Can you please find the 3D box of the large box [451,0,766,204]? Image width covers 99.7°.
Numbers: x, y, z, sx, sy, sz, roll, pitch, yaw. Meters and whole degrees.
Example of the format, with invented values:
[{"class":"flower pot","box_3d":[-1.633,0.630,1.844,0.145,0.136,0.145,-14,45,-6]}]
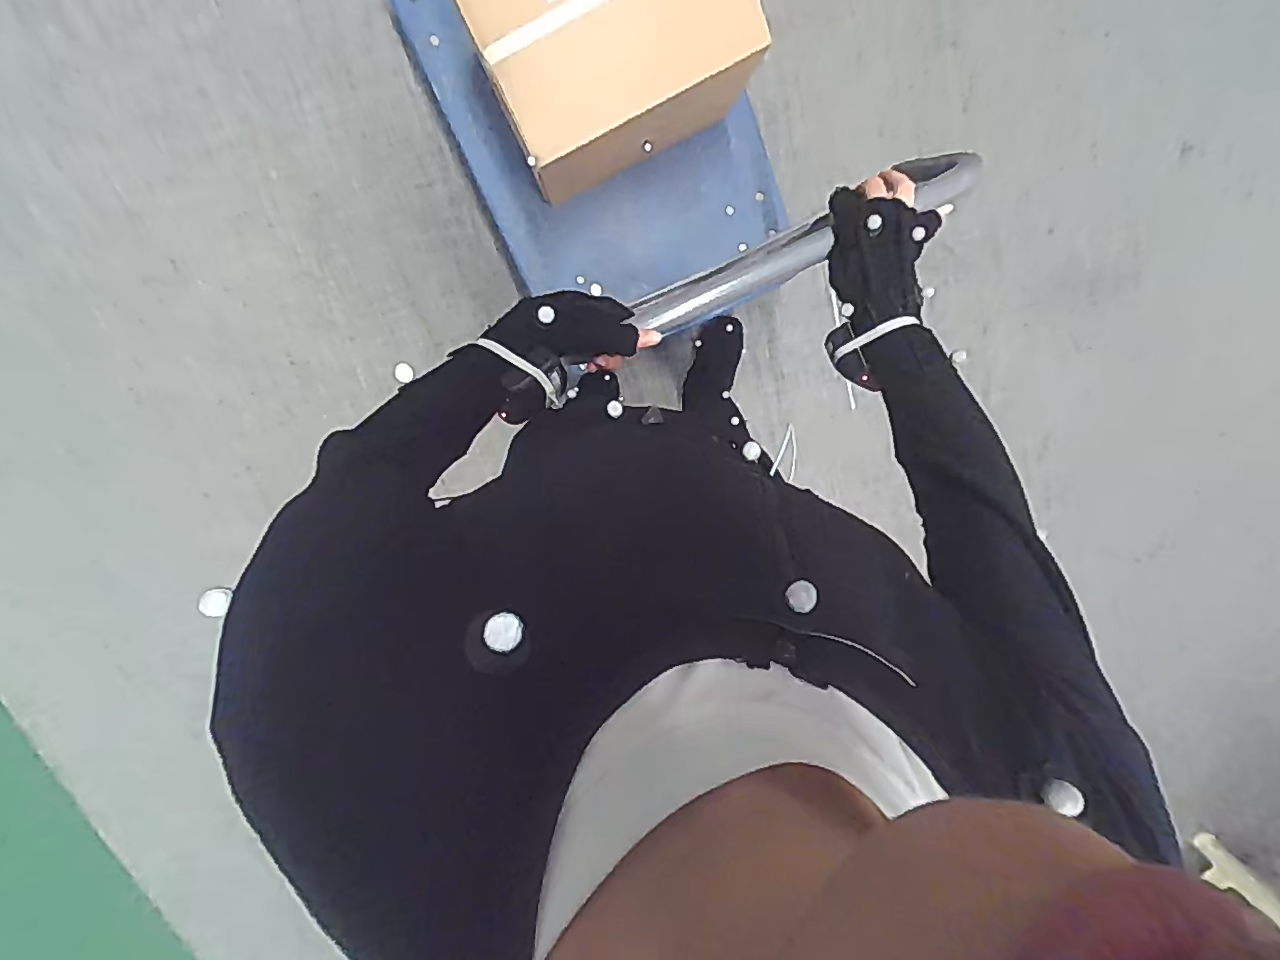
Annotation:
[{"class":"large box","box_3d":[-0.060,-0.745,0.933,0.408,0.320,0.320,-27,106,3]}]
